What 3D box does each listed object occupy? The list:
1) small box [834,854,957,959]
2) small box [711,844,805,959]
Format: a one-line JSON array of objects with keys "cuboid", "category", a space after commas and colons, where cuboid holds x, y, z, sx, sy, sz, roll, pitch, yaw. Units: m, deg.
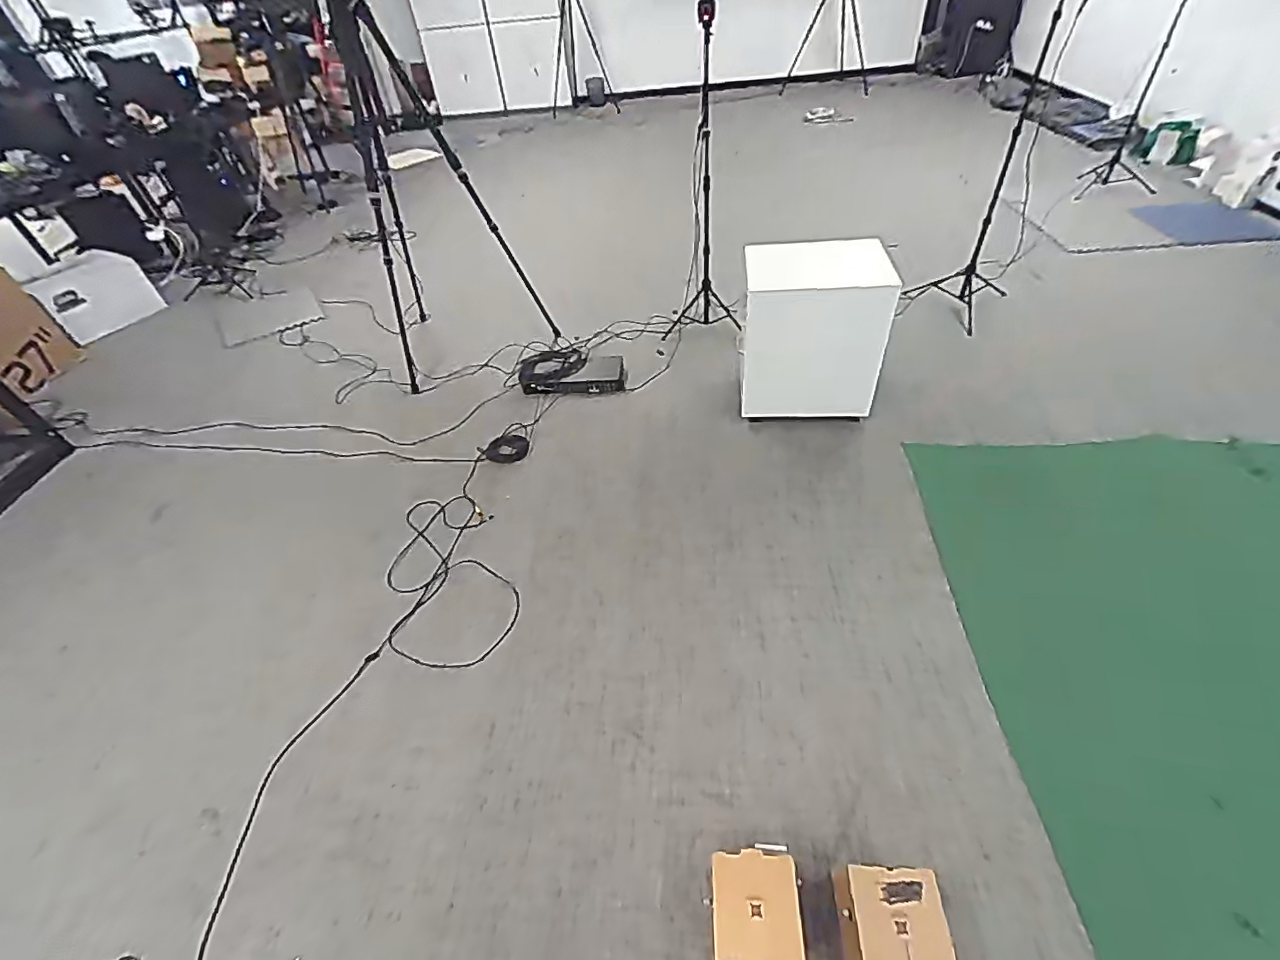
[{"cuboid": [0.492, 0.864, 1.065, 0.168, 0.176, 0.179, -1, 47, 6], "category": "small box"}, {"cuboid": [0.231, 0.862, 1.097, 0.168, 0.176, 0.179, -1, 45, 5], "category": "small box"}]
